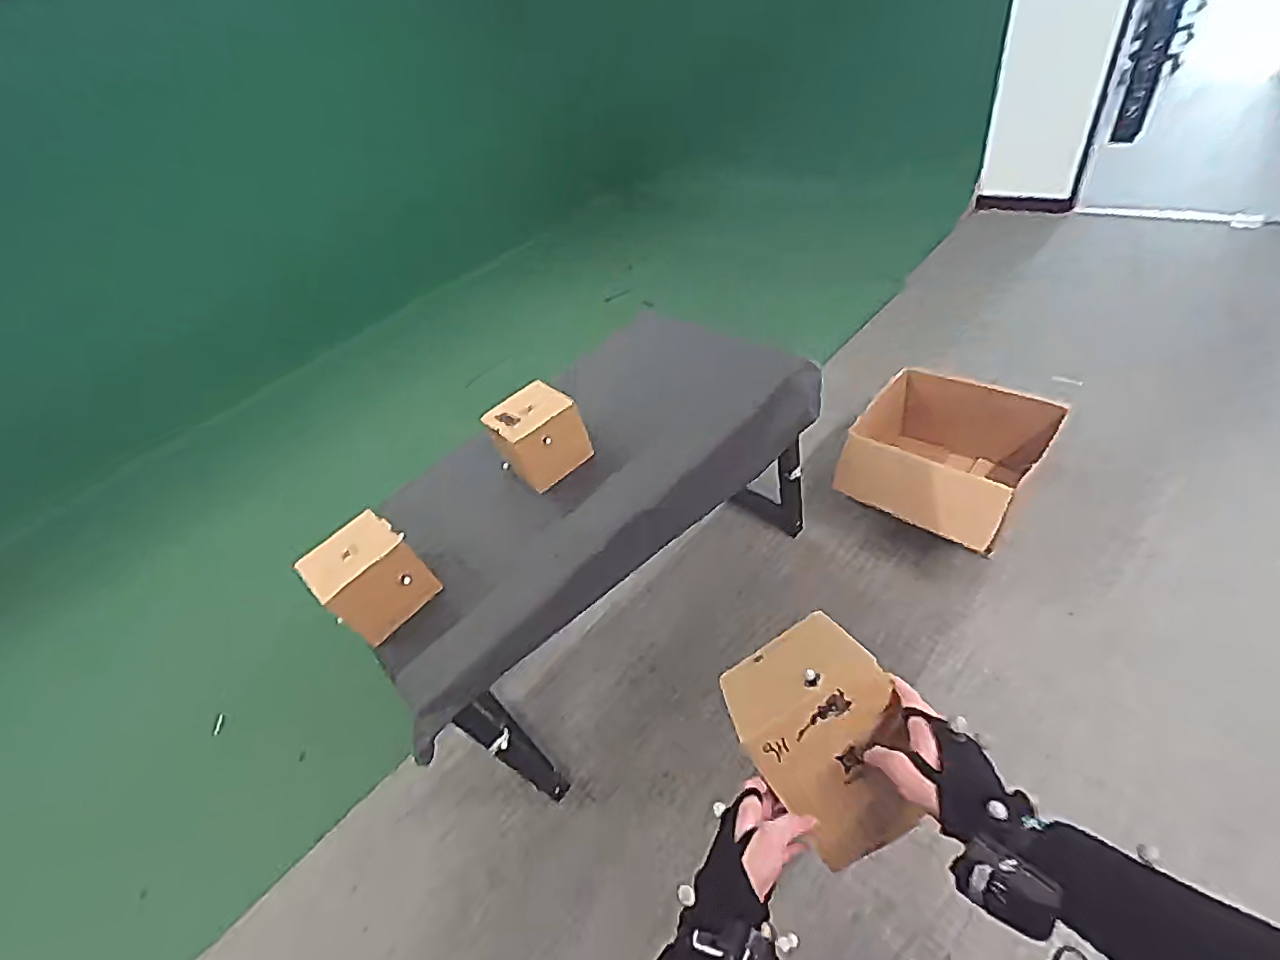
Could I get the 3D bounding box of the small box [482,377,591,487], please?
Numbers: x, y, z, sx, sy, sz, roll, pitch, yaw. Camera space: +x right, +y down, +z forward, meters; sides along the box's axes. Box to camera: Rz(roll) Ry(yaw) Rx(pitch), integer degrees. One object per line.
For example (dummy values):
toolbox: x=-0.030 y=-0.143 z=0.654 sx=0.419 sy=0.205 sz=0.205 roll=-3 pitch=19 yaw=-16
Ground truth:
small box: x=-0.246 y=-0.115 z=1.316 sx=0.179 sy=0.176 sz=0.168 roll=-36 pitch=49 yaw=-18

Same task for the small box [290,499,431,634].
small box: x=-0.559 y=0.178 z=1.109 sx=0.168 sy=0.176 sz=0.179 roll=26 pitch=59 yaw=37

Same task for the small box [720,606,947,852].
small box: x=0.216 y=0.283 z=0.654 sx=0.168 sy=0.179 sz=0.176 roll=-36 pitch=2 yaw=3
